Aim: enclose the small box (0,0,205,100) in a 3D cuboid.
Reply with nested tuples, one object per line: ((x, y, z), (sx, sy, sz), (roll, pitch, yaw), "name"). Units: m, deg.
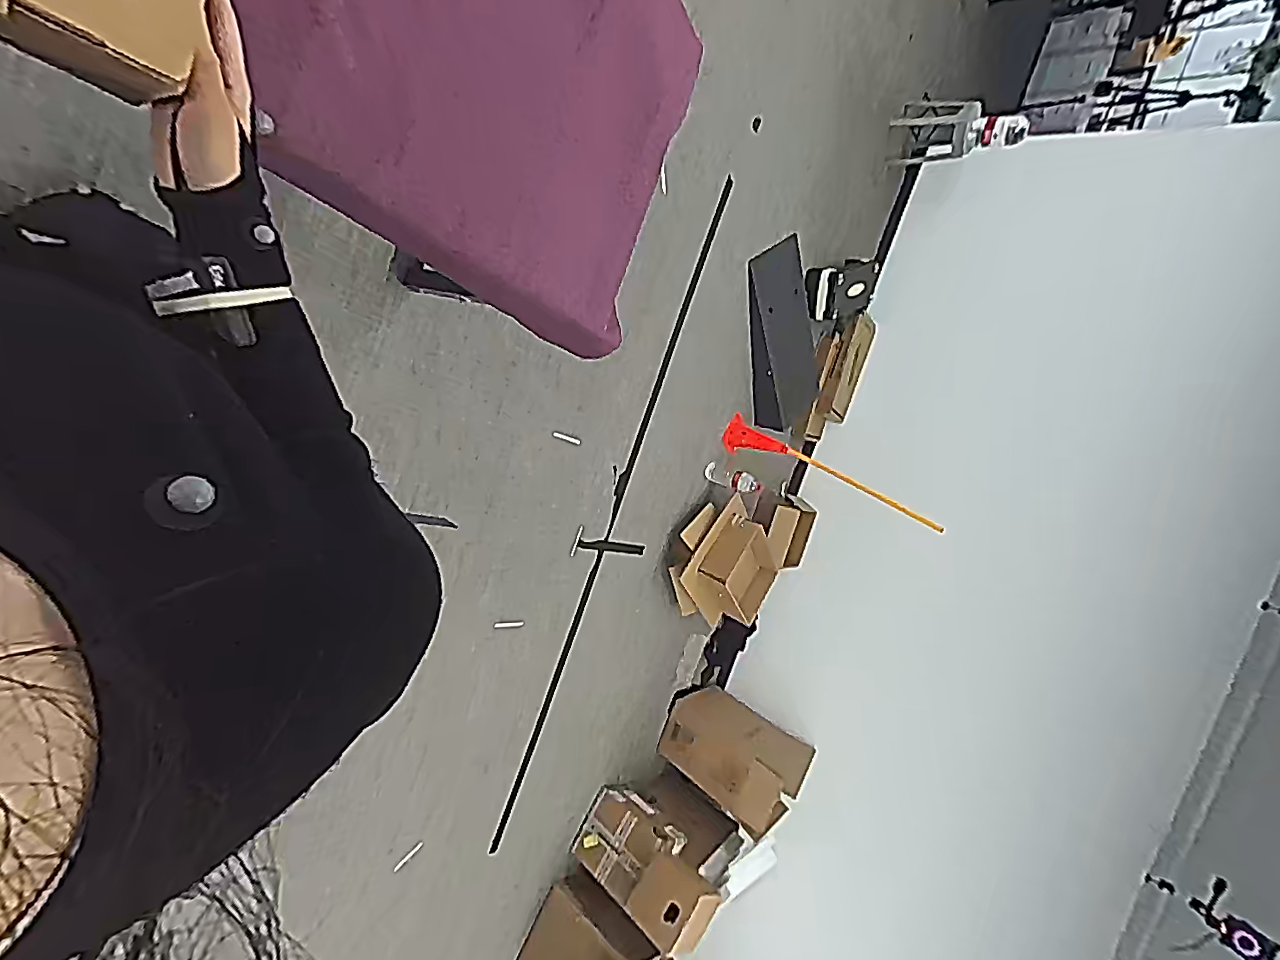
((-0.316, -0.317, 0.258), (0.168, 0.176, 0.179), (8, 106, -51), "small box")
